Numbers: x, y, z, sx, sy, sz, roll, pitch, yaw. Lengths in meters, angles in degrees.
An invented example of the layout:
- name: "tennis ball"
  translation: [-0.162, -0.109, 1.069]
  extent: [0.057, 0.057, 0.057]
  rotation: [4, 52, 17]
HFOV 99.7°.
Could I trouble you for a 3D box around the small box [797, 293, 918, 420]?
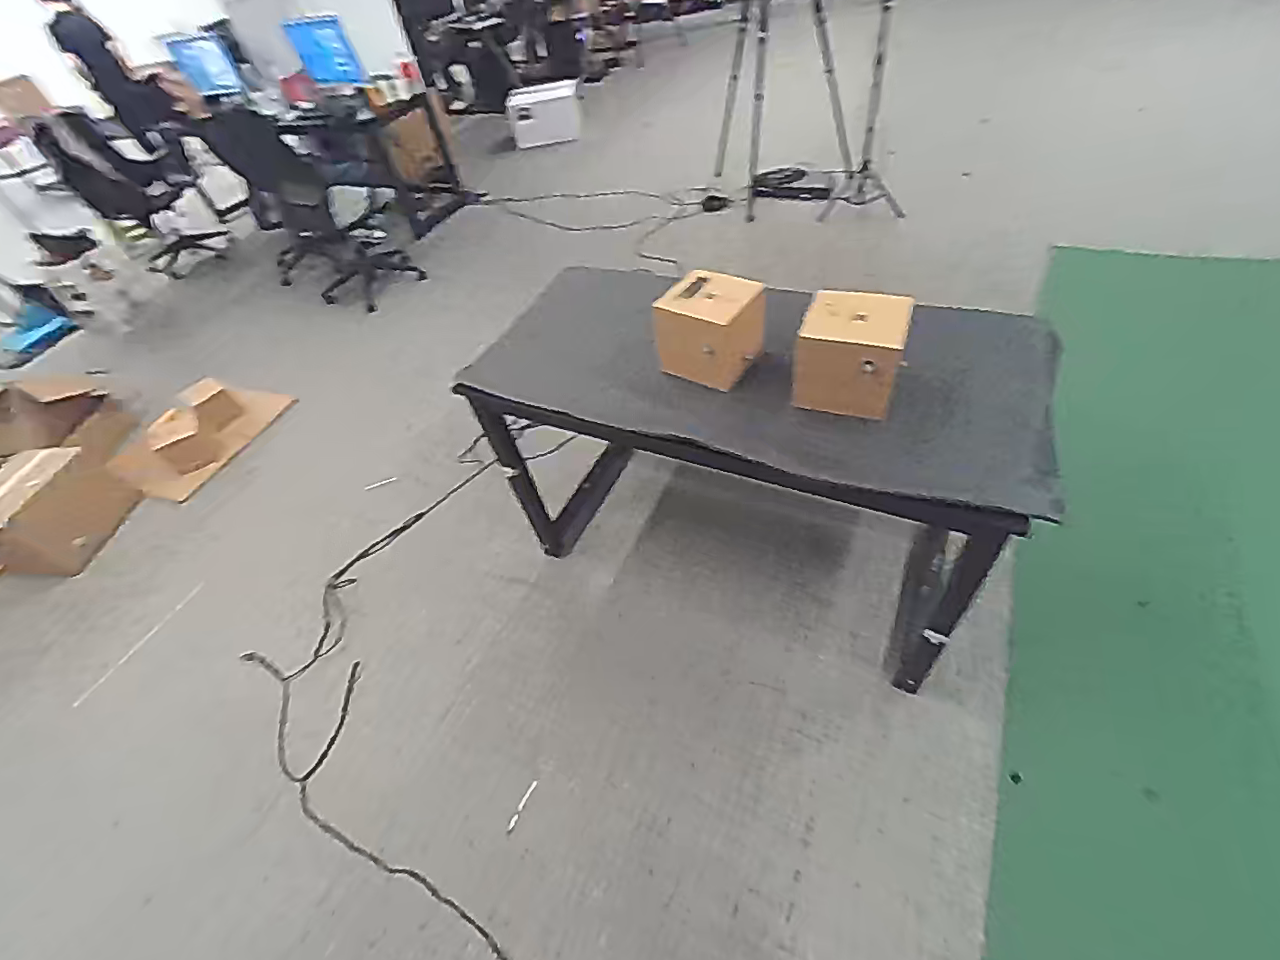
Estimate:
- name: "small box"
  translation: [0.414, -0.237, 1.044]
  extent: [0.179, 0.176, 0.168]
  rotation: [14, 52, 23]
